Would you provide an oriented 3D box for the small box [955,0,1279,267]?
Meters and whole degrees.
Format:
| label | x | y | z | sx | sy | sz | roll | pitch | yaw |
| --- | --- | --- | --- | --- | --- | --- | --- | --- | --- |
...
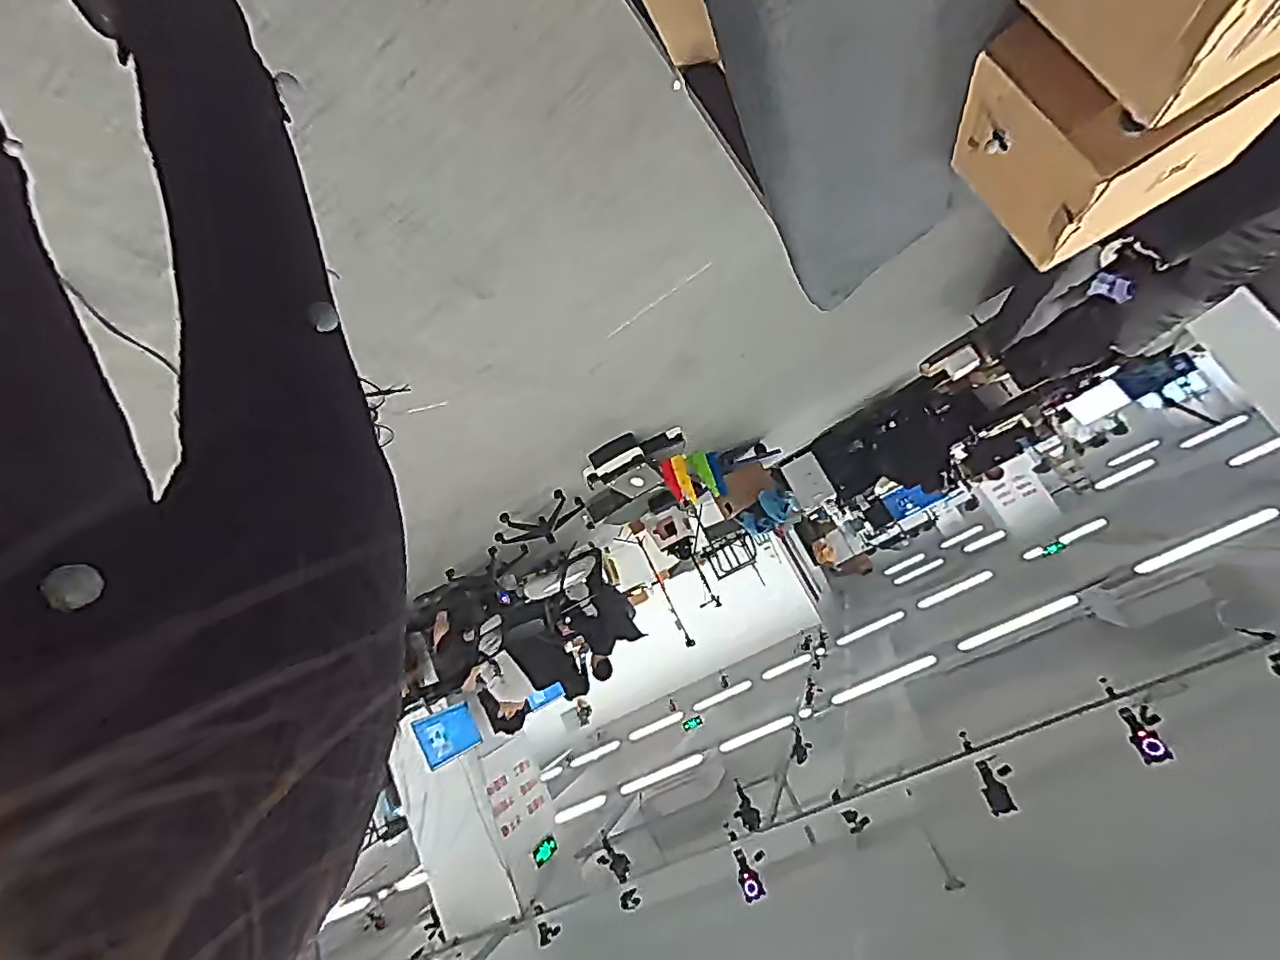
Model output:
| label | x | y | z | sx | sy | sz | roll | pitch | yaw |
| --- | --- | --- | --- | --- | --- | --- | --- | --- | --- |
| small box | 0.429 | -0.342 | 0.490 | 0.179 | 0.176 | 0.168 | -31 | 165 | 18 |
